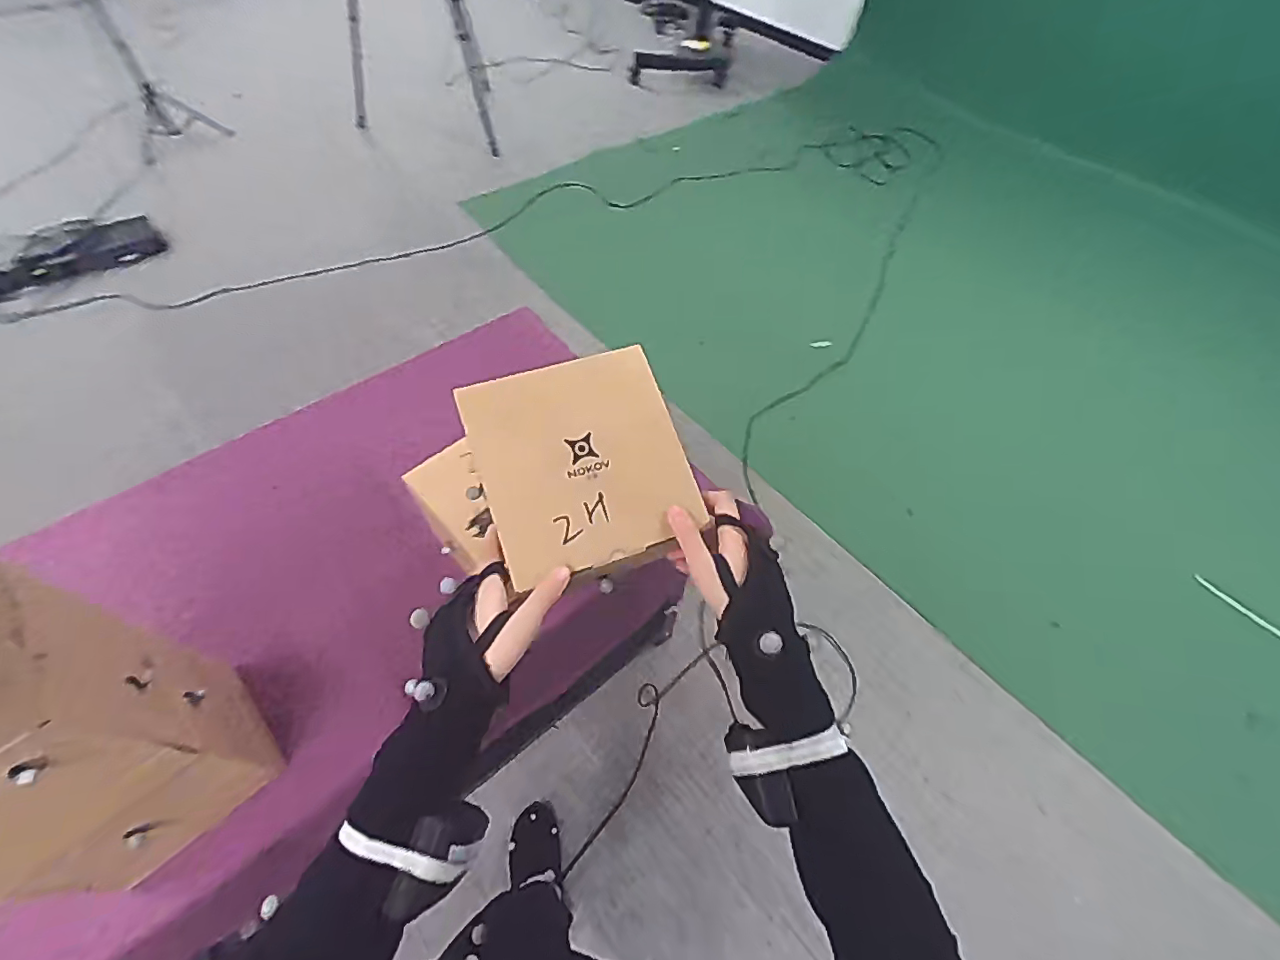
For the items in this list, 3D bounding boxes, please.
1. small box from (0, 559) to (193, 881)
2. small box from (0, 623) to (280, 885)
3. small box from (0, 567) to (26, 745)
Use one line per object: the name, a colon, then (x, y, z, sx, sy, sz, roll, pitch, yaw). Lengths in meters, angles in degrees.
small box: (-0.533, 0.206, 0.445, 0.179, 0.176, 0.168, -36, 64, -25)
small box: (-0.542, 0.294, 0.581, 0.179, 0.176, 0.168, -36, 64, -24)
small box: (-0.527, 0.110, 0.313, 0.168, 0.176, 0.179, -33, 62, -24)
